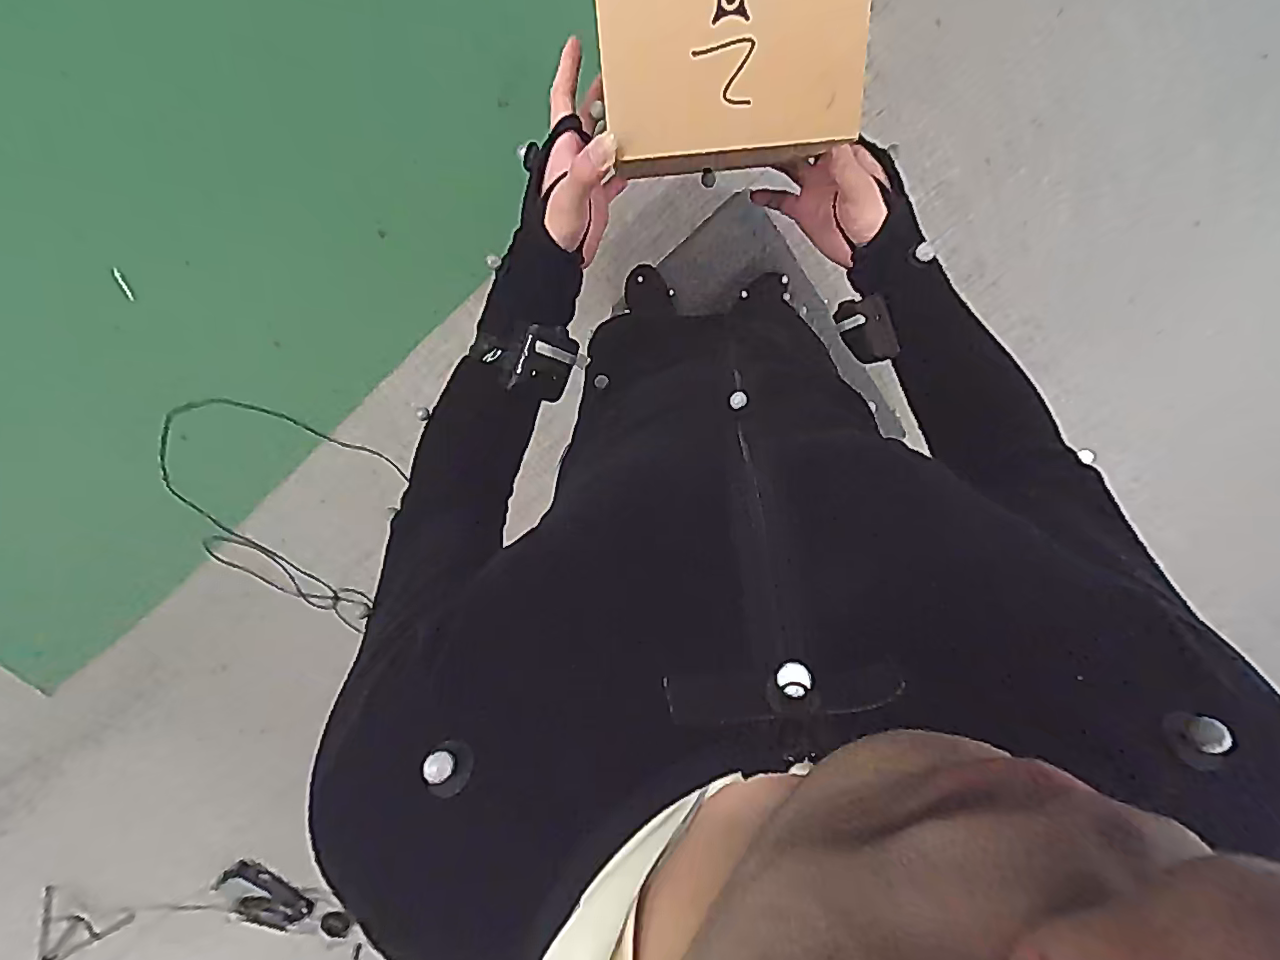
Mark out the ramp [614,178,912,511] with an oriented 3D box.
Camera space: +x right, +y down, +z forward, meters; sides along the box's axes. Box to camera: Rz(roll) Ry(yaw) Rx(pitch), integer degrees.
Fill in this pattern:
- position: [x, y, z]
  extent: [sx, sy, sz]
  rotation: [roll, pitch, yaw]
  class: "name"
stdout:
- position: [0.426, -0.325, 1.652]
  extent: [0.509, 0.206, 0.991]
  rotation: [-41, 110, 15]
  class: "ramp"
